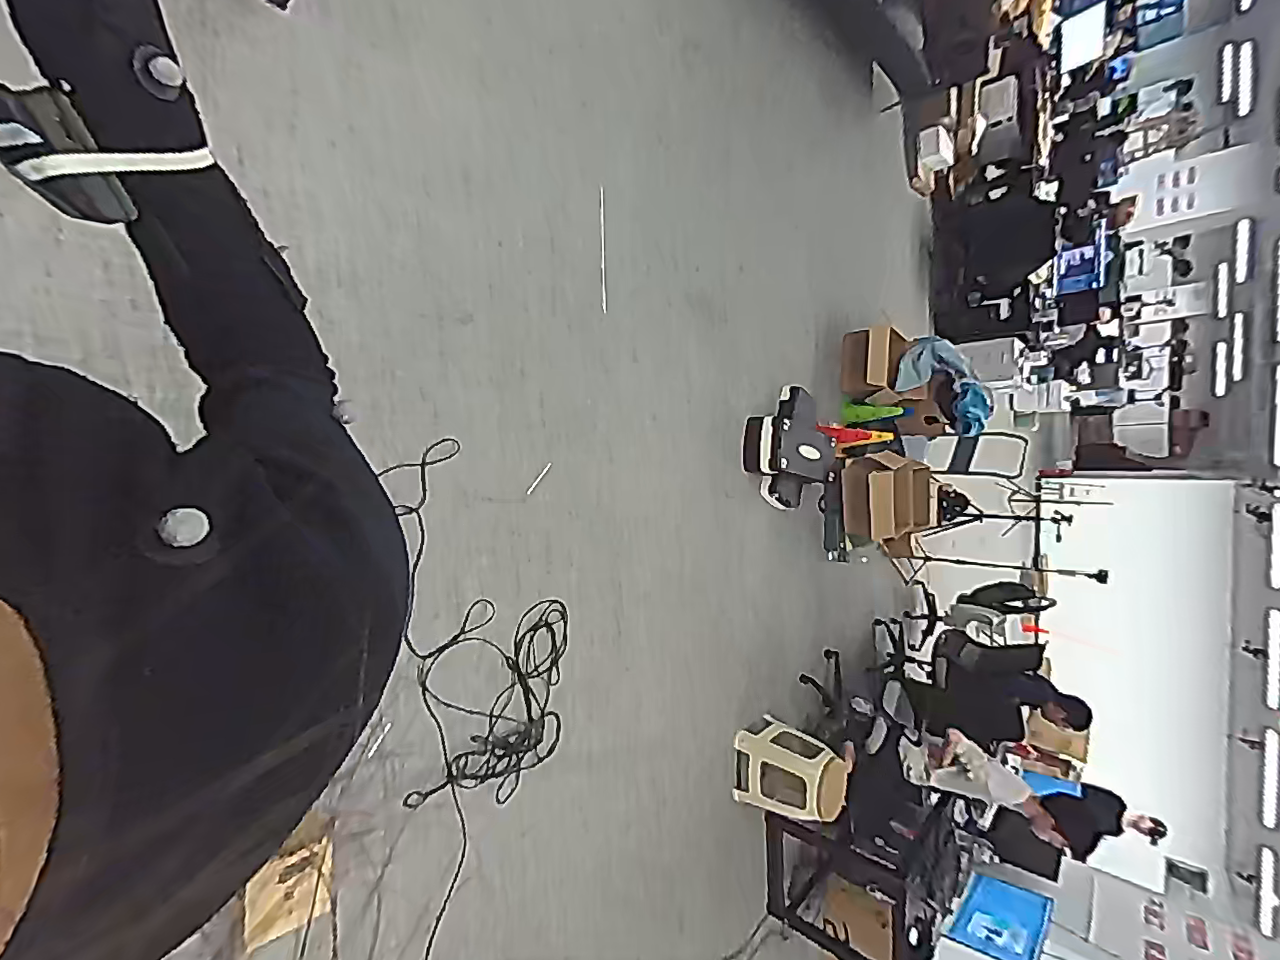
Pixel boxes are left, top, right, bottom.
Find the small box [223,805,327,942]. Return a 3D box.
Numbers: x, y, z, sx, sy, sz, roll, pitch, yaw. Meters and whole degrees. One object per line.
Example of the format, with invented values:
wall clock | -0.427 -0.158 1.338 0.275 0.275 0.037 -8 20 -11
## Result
small box | -0.836 0.879 1.236 0.168 0.176 0.179 1 90 -47
